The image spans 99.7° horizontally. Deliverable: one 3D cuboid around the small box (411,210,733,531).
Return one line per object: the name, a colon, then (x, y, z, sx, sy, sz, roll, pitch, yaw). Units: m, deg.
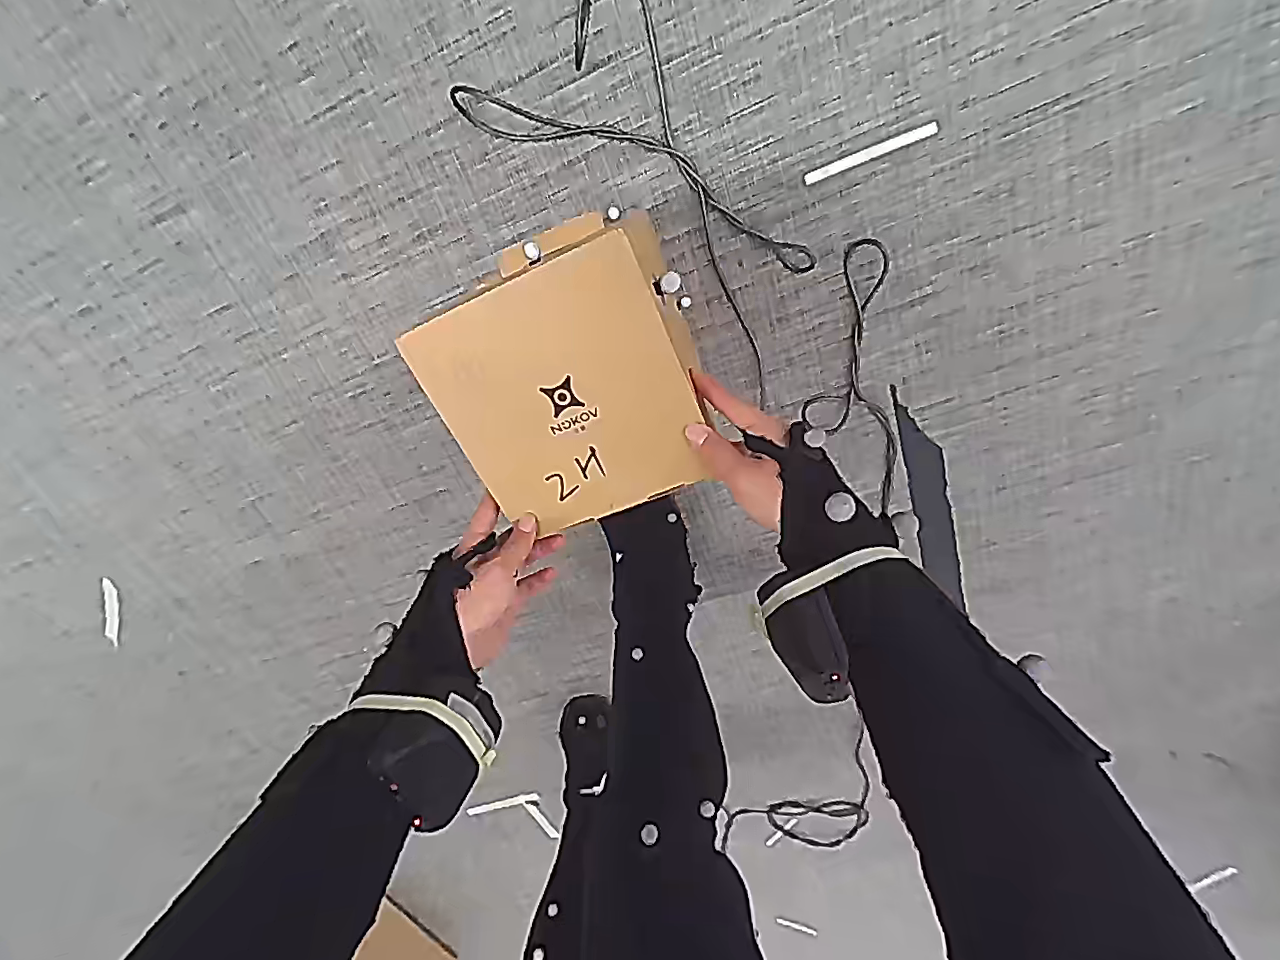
small box: (-0.038, -0.094, 0.433, 0.168, 0.176, 0.179, -20, 115, 13)
